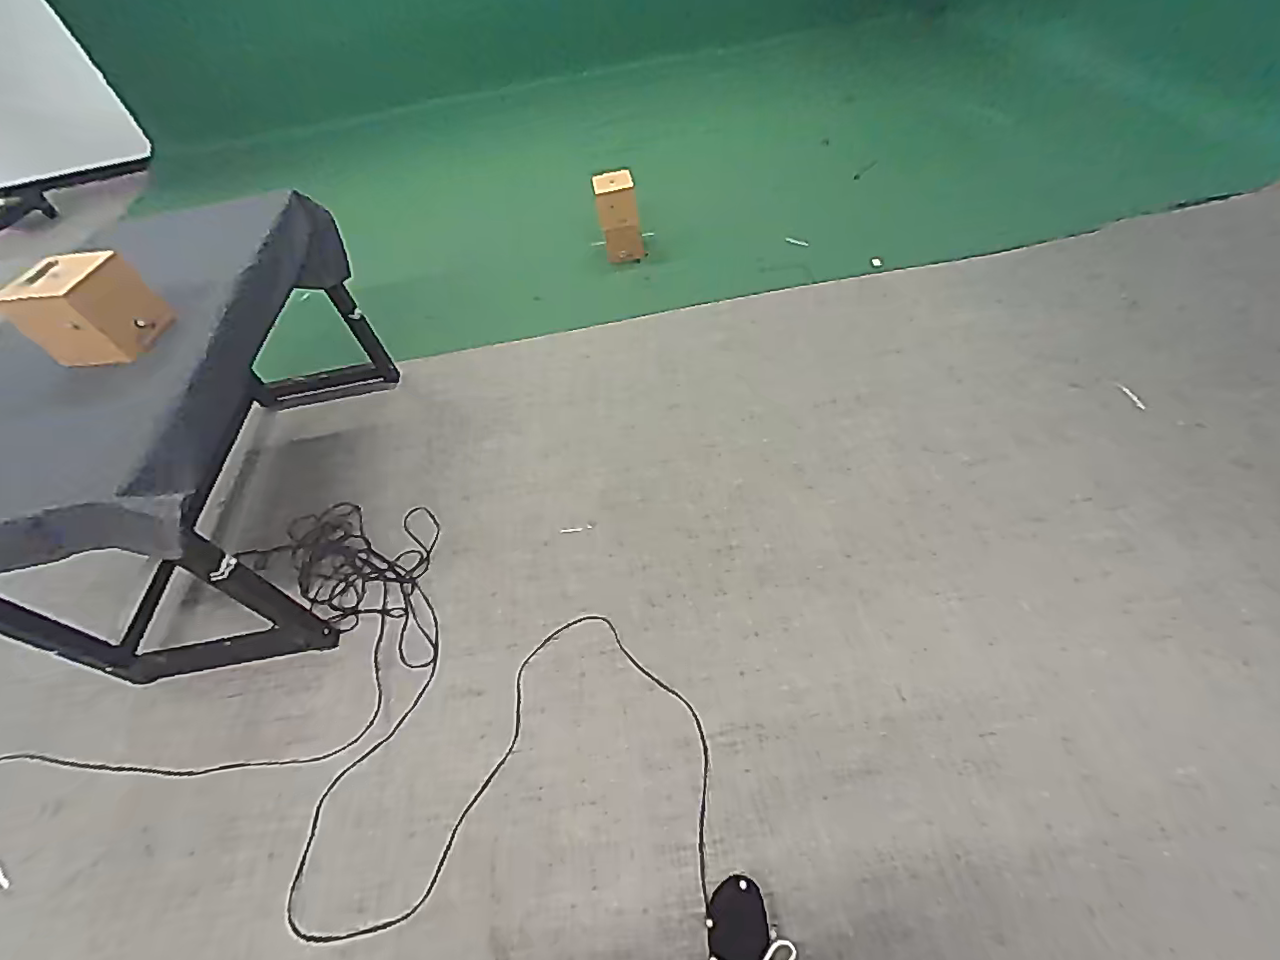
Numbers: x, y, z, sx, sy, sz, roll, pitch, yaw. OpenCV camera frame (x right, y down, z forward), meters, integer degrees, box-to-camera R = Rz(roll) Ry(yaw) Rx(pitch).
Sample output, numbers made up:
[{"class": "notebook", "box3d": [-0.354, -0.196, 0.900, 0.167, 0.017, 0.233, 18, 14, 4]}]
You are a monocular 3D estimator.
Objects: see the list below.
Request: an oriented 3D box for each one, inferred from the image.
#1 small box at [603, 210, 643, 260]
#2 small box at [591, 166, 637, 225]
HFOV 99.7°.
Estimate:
[{"class": "small box", "box3d": [-0.084, -1.151, 2.508, 0.168, 0.176, 0.179, -11, 53, 1]}, {"class": "small box", "box3d": [-0.114, -1.244, 2.378, 0.168, 0.176, 0.179, -12, 51, 1]}]
